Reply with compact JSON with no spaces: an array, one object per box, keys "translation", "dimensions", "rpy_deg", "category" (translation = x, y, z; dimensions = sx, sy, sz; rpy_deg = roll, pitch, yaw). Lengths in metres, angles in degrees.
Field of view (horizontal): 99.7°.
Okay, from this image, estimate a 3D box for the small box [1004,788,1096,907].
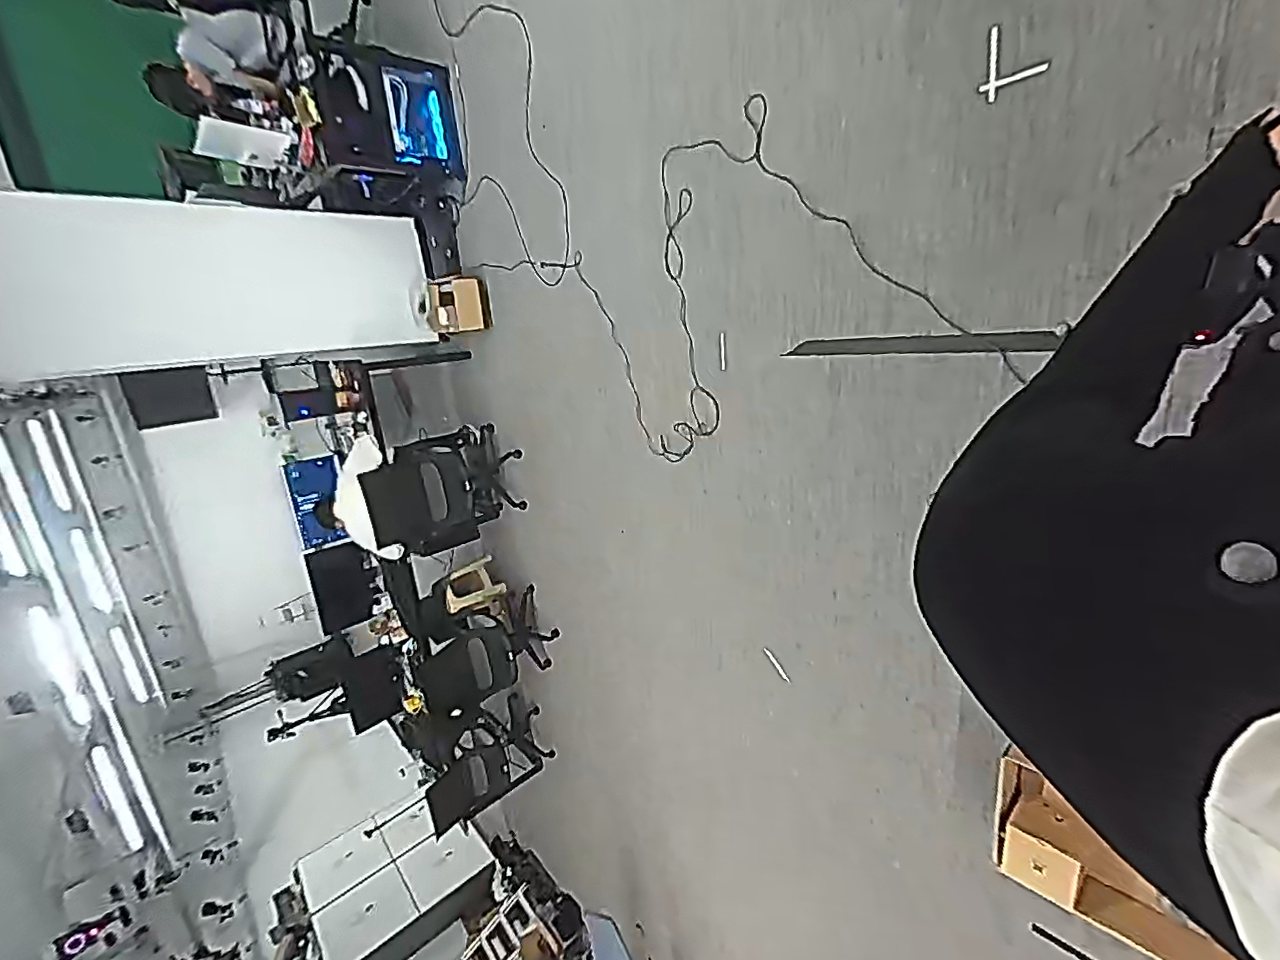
[{"translation":[1.146,1.015,1.510],"dimensions":[0.168,0.176,0.179],"rpy_deg":[12,111,47],"category":"small box"}]
